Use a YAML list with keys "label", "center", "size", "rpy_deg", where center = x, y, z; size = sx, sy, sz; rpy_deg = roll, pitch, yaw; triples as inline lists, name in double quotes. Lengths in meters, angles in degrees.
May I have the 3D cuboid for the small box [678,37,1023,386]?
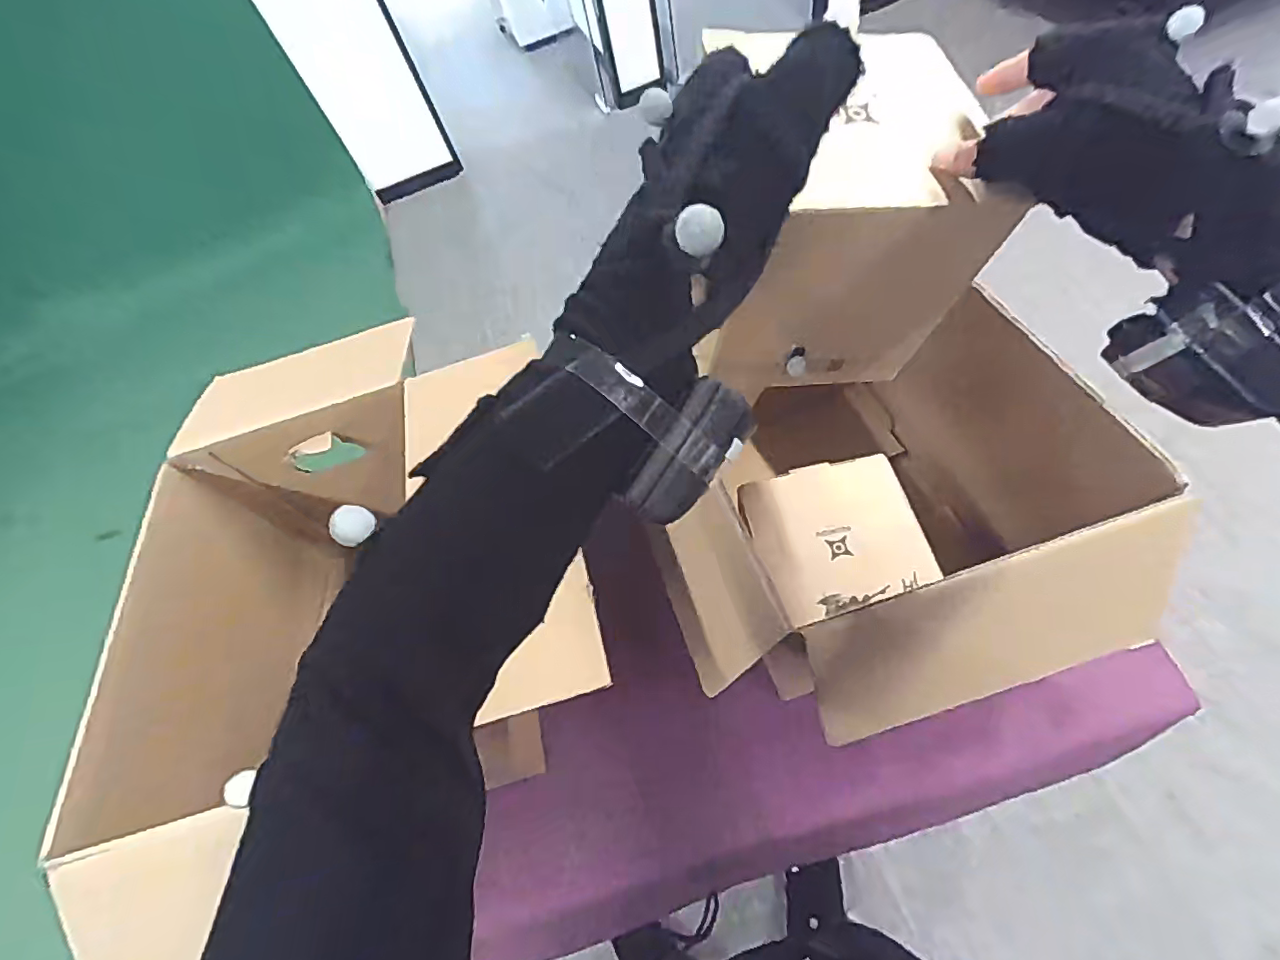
- label: "small box"
  center: [0.127, -0.193, 0.412]
  size: [0.168, 0.176, 0.179]
  rpy_deg: [-4, 65, -6]
